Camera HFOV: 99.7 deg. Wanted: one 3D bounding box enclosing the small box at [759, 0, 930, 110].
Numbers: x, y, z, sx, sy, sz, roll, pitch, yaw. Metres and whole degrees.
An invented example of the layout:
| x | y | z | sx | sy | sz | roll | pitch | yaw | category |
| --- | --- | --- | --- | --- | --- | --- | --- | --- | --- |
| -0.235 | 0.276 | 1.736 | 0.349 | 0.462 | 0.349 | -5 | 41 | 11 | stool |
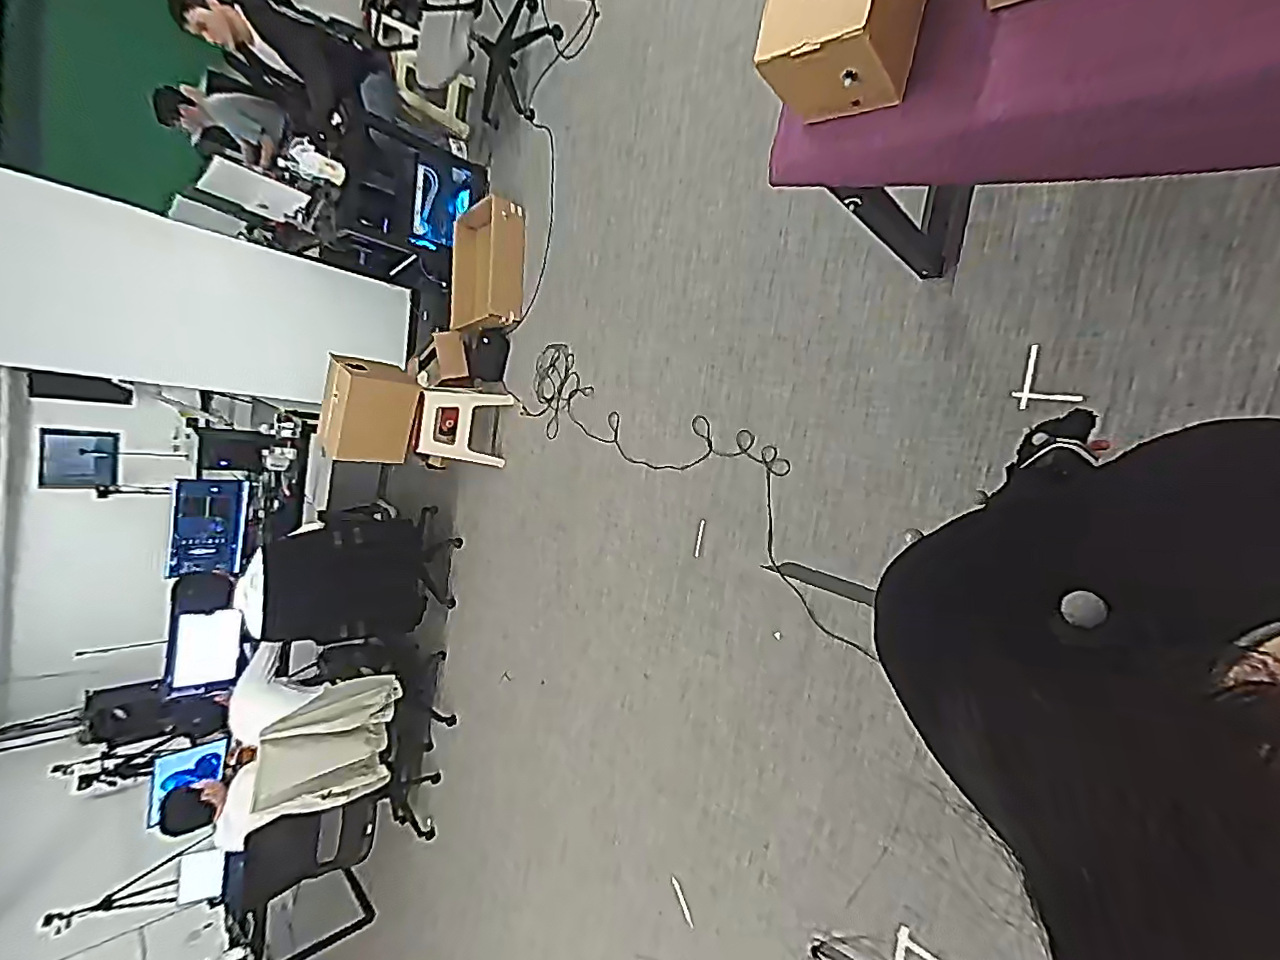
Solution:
| x | y | z | sx | sy | sz | roll | pitch | yaw | category |
| --- | --- | --- | --- | --- | --- | --- | --- | --- | --- |
| 0.298 | -0.668 | 0.776 | 0.168 | 0.176 | 0.179 | 17 | 98 | 40 | small box |
